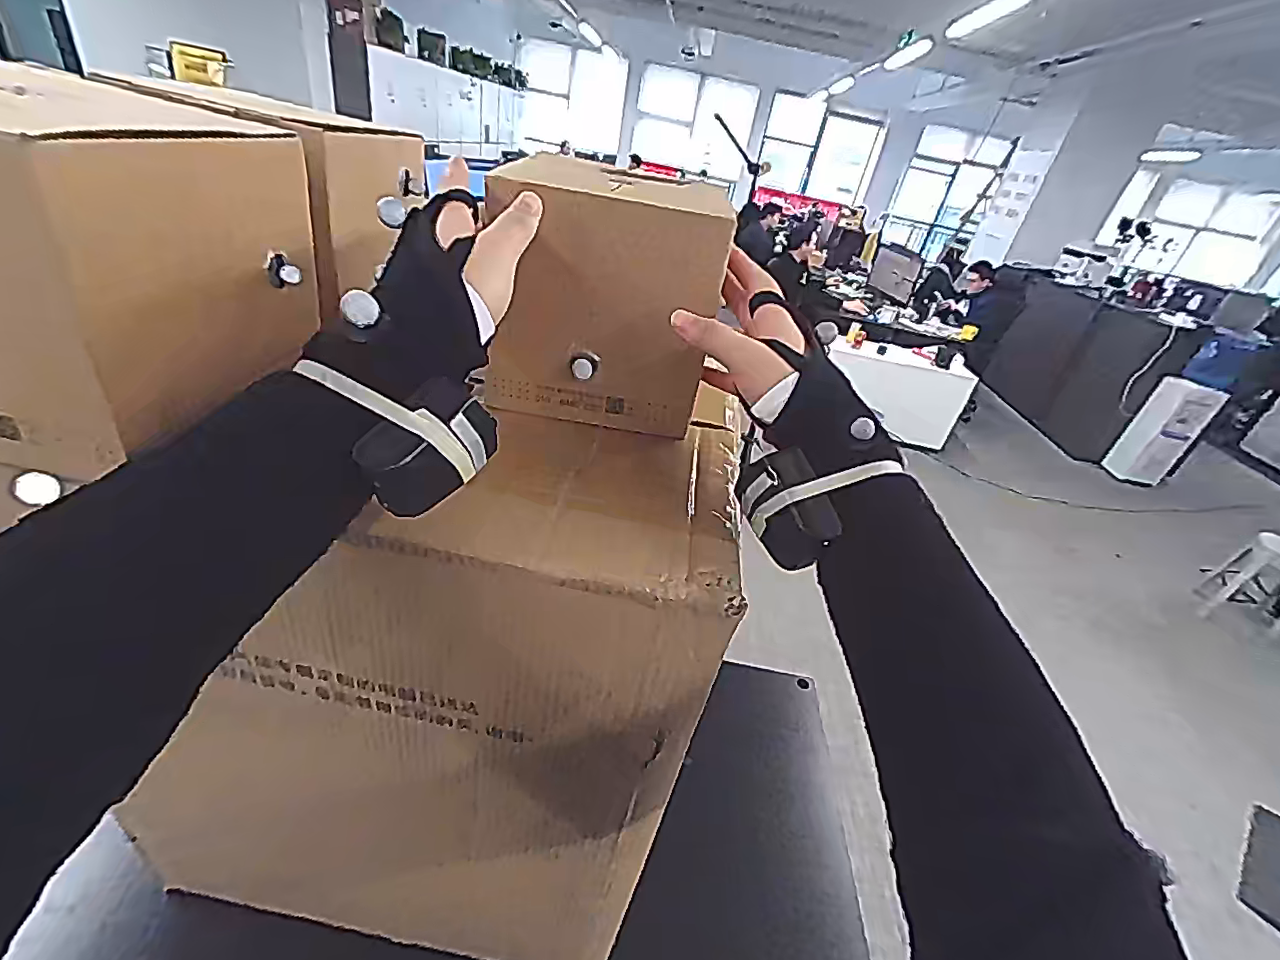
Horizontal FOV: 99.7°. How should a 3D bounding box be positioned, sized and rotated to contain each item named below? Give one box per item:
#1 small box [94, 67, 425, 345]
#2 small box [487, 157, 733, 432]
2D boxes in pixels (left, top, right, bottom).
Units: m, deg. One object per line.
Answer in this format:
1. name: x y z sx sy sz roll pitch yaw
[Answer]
1. small box: -0.311 -0.238 0.488 0.168 0.176 0.179 11 30 -2
2. small box: -0.027 -0.161 0.459 0.168 0.176 0.179 9 32 -2
